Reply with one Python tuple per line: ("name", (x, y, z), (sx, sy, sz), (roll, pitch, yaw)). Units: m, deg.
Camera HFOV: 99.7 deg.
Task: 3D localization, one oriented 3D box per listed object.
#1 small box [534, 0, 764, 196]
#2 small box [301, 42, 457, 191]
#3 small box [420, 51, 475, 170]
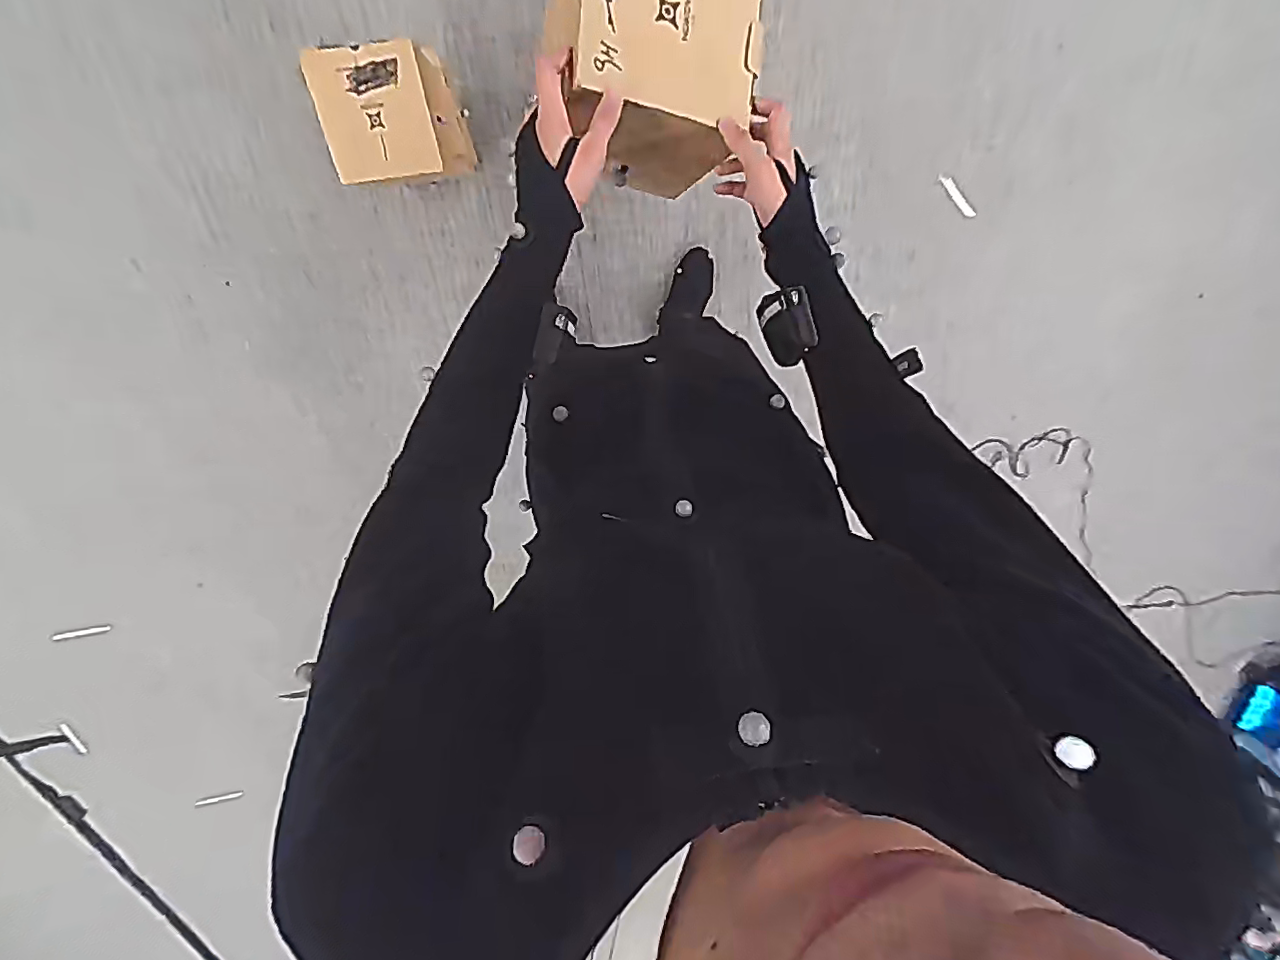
("small box", (0.001, -0.414, 0.552), (0.179, 0.176, 0.168), (2, 96, -23))
("small box", (-0.415, -0.589, 0.896), (0.168, 0.176, 0.179), (-10, 118, -4))
("small box", (-0.431, -0.683, 1.032), (0.179, 0.176, 0.168), (-14, 117, -4))
